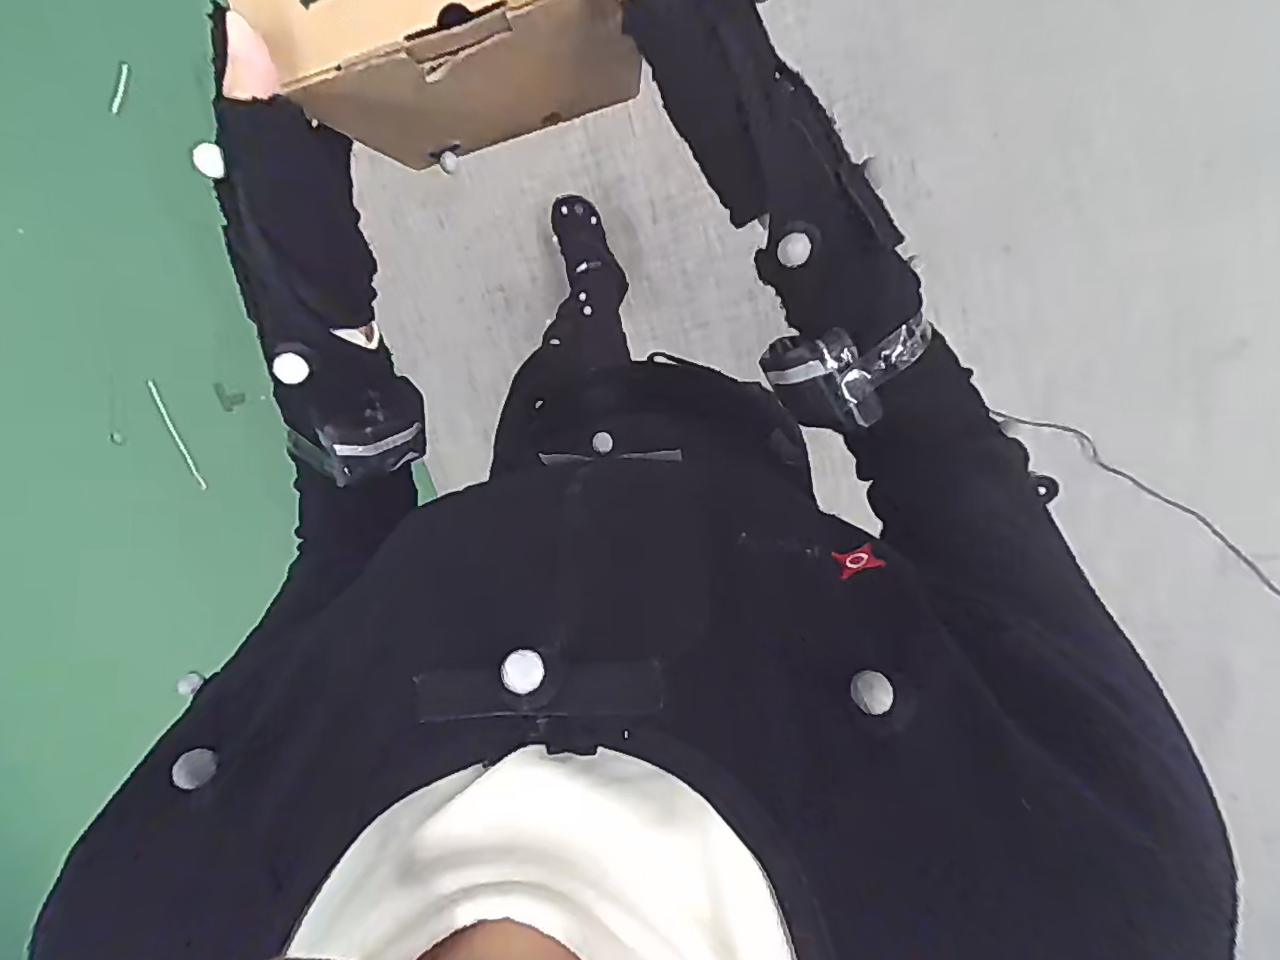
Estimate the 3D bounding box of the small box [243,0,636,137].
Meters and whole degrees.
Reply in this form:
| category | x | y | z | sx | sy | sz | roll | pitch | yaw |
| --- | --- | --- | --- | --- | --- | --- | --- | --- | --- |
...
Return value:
| category | x | y | z | sx | sy | sz | roll | pitch | yaw |
| --- | --- | --- | --- | --- | --- | --- | --- | --- | --- |
| small box | -0.100 | -0.298 | 0.269 | 0.168 | 0.176 | 0.179 | -16 | 109 | 5 |
